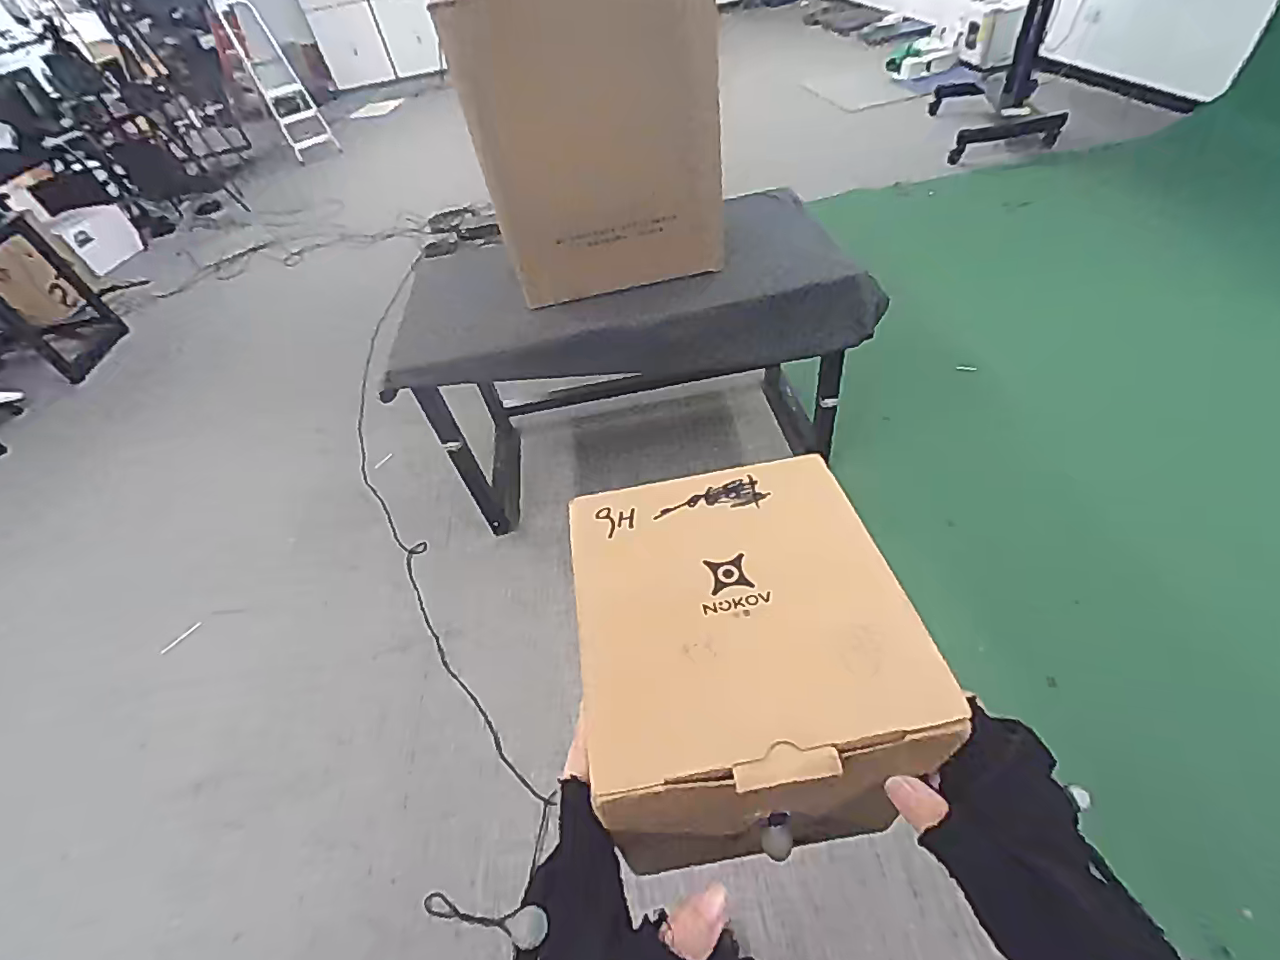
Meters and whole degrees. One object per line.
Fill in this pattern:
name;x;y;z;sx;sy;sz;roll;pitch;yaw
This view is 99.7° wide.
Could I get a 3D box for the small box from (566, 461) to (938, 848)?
small box;0.052;0.117;0.352;0.168;0.176;0.179;-10;46;-1
